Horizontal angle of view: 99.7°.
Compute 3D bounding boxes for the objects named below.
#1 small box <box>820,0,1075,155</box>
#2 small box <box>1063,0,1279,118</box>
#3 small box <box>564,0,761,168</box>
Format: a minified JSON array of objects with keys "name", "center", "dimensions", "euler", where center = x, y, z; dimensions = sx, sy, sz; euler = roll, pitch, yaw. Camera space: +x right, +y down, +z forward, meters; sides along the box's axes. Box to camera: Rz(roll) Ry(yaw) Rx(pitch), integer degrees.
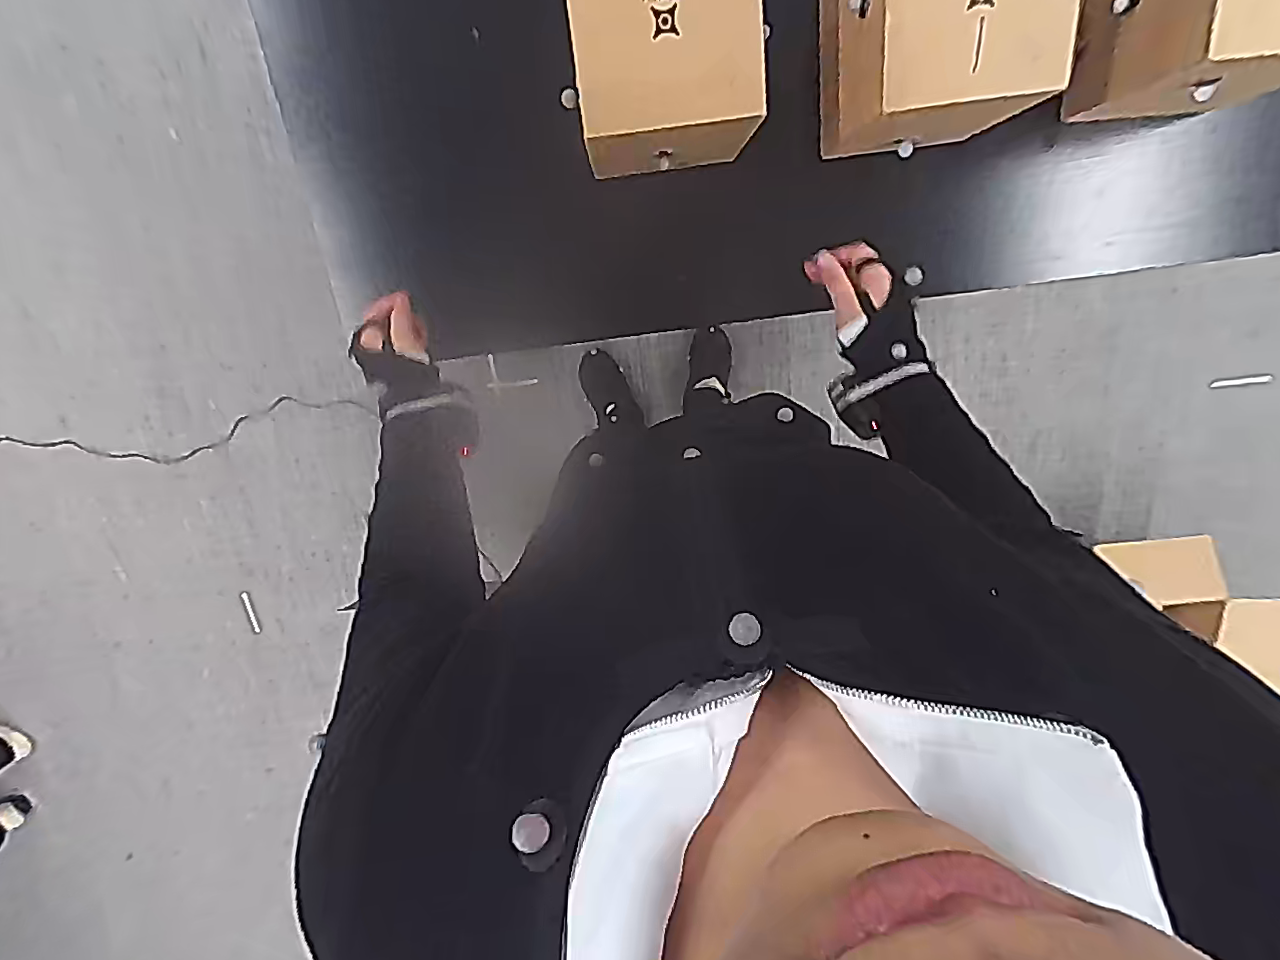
[{"name":"small box","center":[0.282,-0.444,0.528],"dimensions":[0.168,0.176,0.179],"euler":[-6,109,1]},{"name":"small box","center":[0.562,-0.473,0.523],"dimensions":[0.179,0.176,0.168],"euler":[-4,108,2]},{"name":"small box","center":[0.018,-0.422,0.530],"dimensions":[0.168,0.176,0.179],"euler":[-7,108,1]}]
